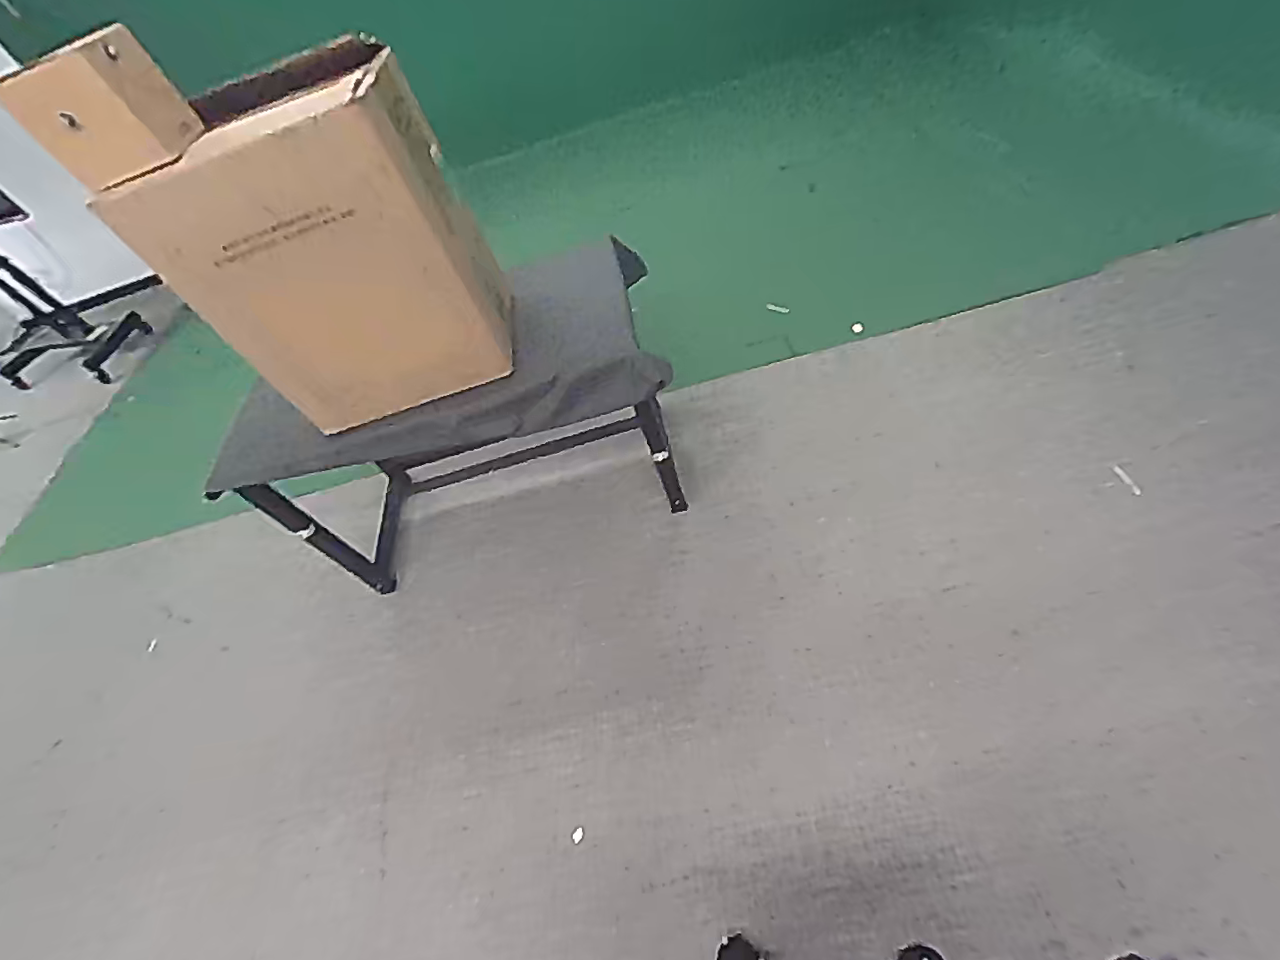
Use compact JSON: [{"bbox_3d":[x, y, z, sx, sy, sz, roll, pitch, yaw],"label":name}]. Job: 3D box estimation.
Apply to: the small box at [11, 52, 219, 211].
[{"bbox_3d":[-0.920,-0.617,0.969,0.179,0.176,0.168,-19,50,7],"label":"small box"}]
